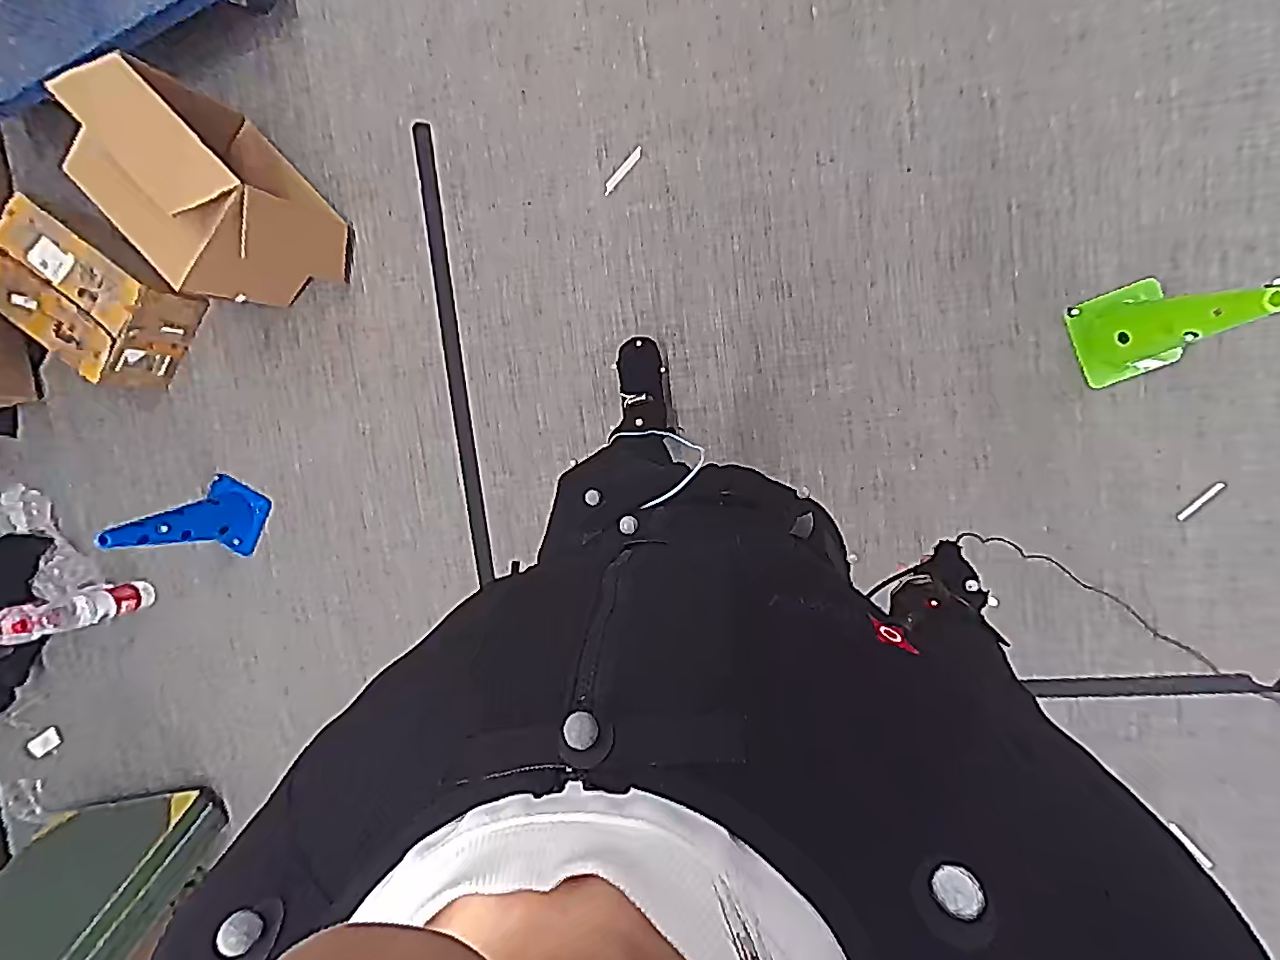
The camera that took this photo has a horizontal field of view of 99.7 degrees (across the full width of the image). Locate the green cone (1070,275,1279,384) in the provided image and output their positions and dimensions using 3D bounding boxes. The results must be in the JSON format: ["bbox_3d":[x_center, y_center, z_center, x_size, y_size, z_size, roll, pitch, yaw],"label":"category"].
[{"bbox_3d":[1.086,-0.322,1.060,0.202,0.368,0.200,-22,93,9],"label":"green cone"}]
